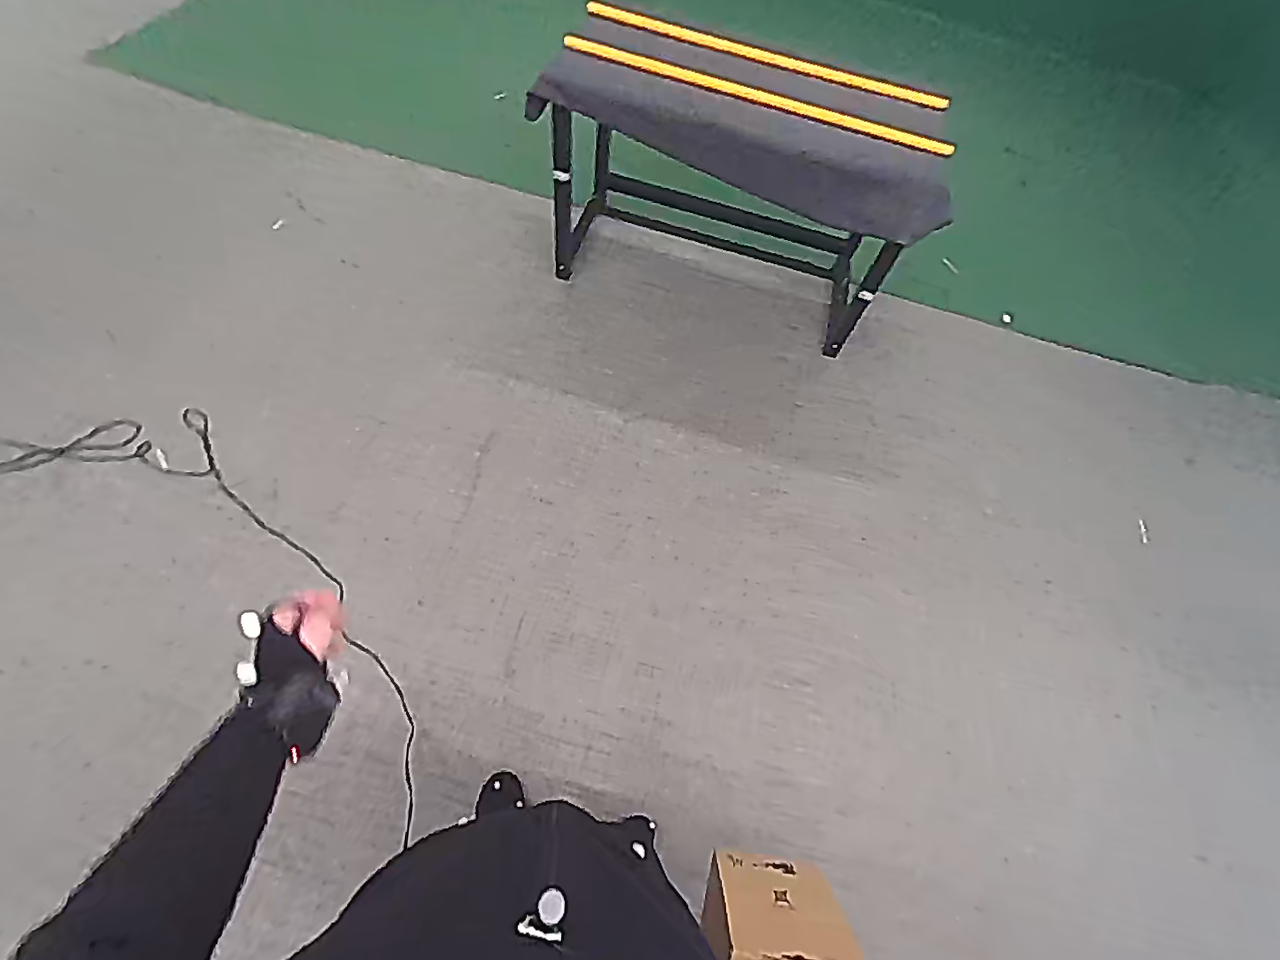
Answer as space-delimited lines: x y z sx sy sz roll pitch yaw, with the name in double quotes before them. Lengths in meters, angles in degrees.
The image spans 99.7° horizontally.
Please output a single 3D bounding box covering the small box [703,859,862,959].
"small box" 0.184 0.661 0.729 0.168 0.179 0.176 7 92 -2
